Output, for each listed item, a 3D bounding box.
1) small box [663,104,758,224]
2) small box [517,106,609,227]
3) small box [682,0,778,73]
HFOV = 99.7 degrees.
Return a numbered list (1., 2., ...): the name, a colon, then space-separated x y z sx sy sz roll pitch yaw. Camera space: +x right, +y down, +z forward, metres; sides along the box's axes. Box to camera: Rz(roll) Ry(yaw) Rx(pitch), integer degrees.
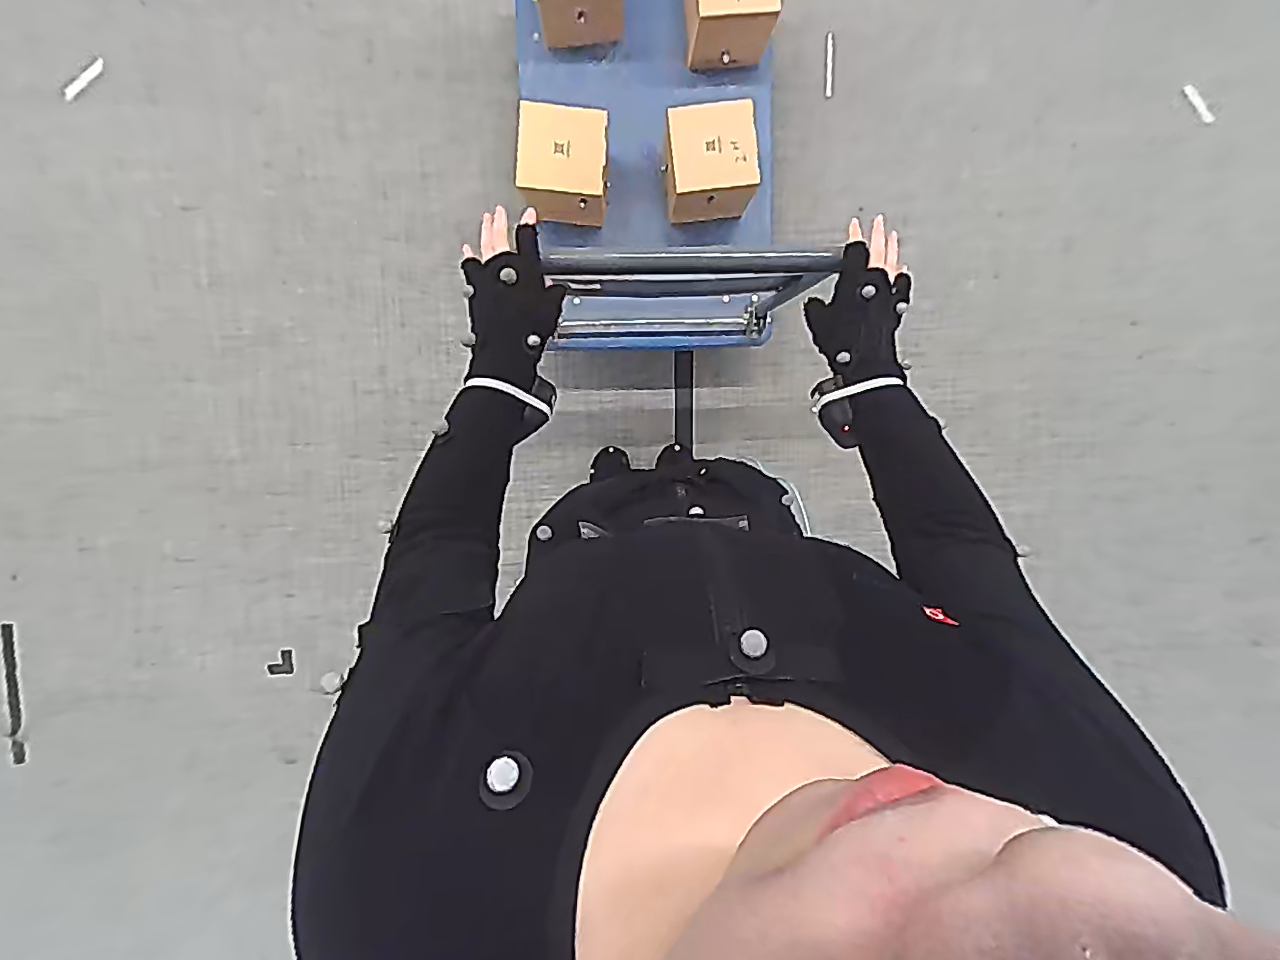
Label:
1. small box: 0.145 -0.676 1.177 0.179 0.176 0.168 -7 96 -2
2. small box: -0.160 -0.665 1.165 0.179 0.176 0.168 4 95 -4
3. small box: 0.185 -1.012 1.147 0.168 0.176 0.179 -5 97 -2
